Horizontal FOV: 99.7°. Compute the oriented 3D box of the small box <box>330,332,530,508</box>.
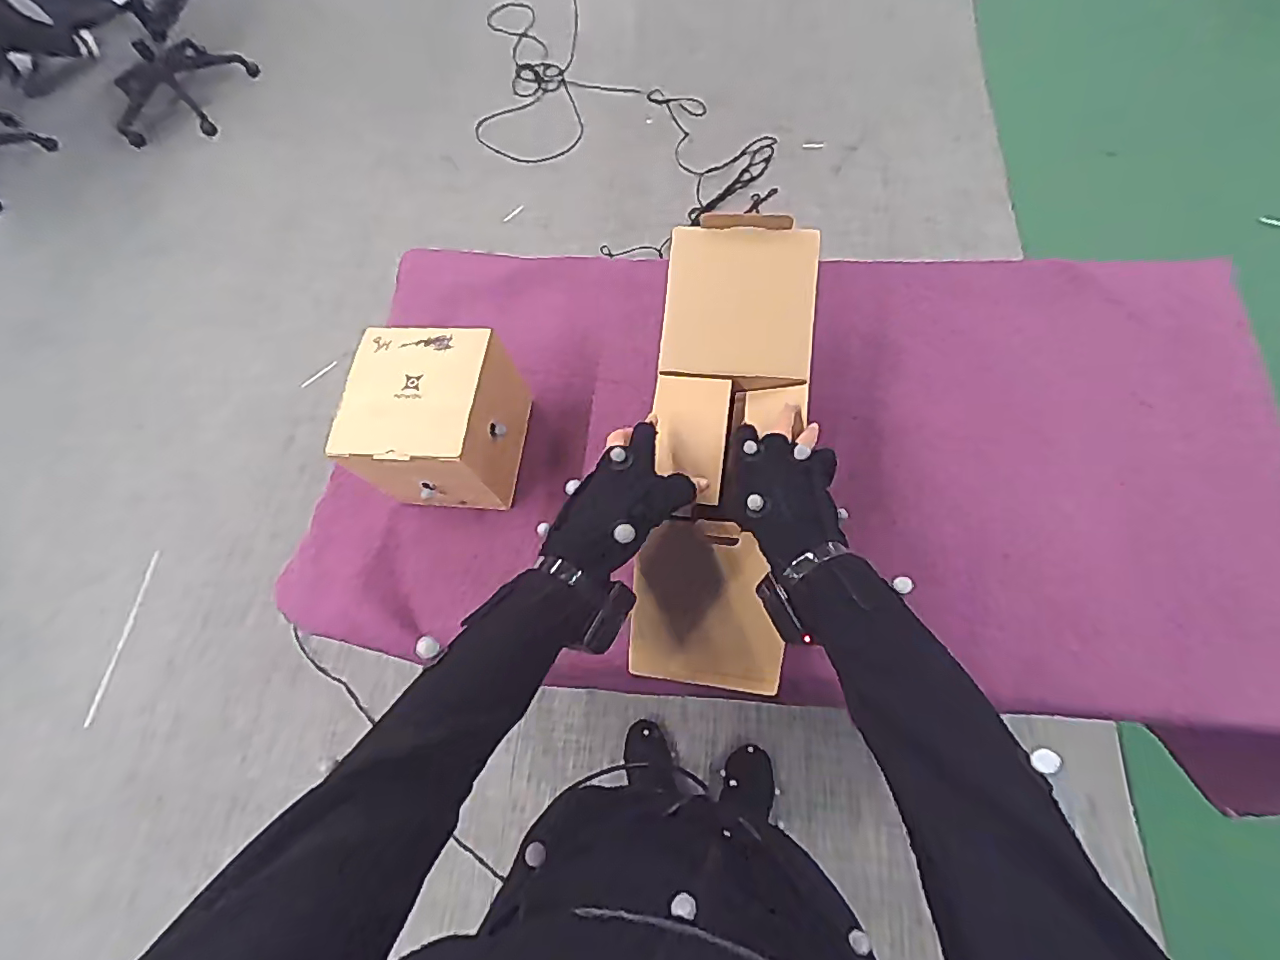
[{"bbox_3d":[-0.254,-0.071,0.702,0.168,0.176,0.179,3,68,8],"label":"small box"}]

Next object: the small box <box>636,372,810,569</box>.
[{"bbox_3d":[0.097,-0.003,0.631,0.168,0.176,0.179,6,68,9],"label":"small box"}]
